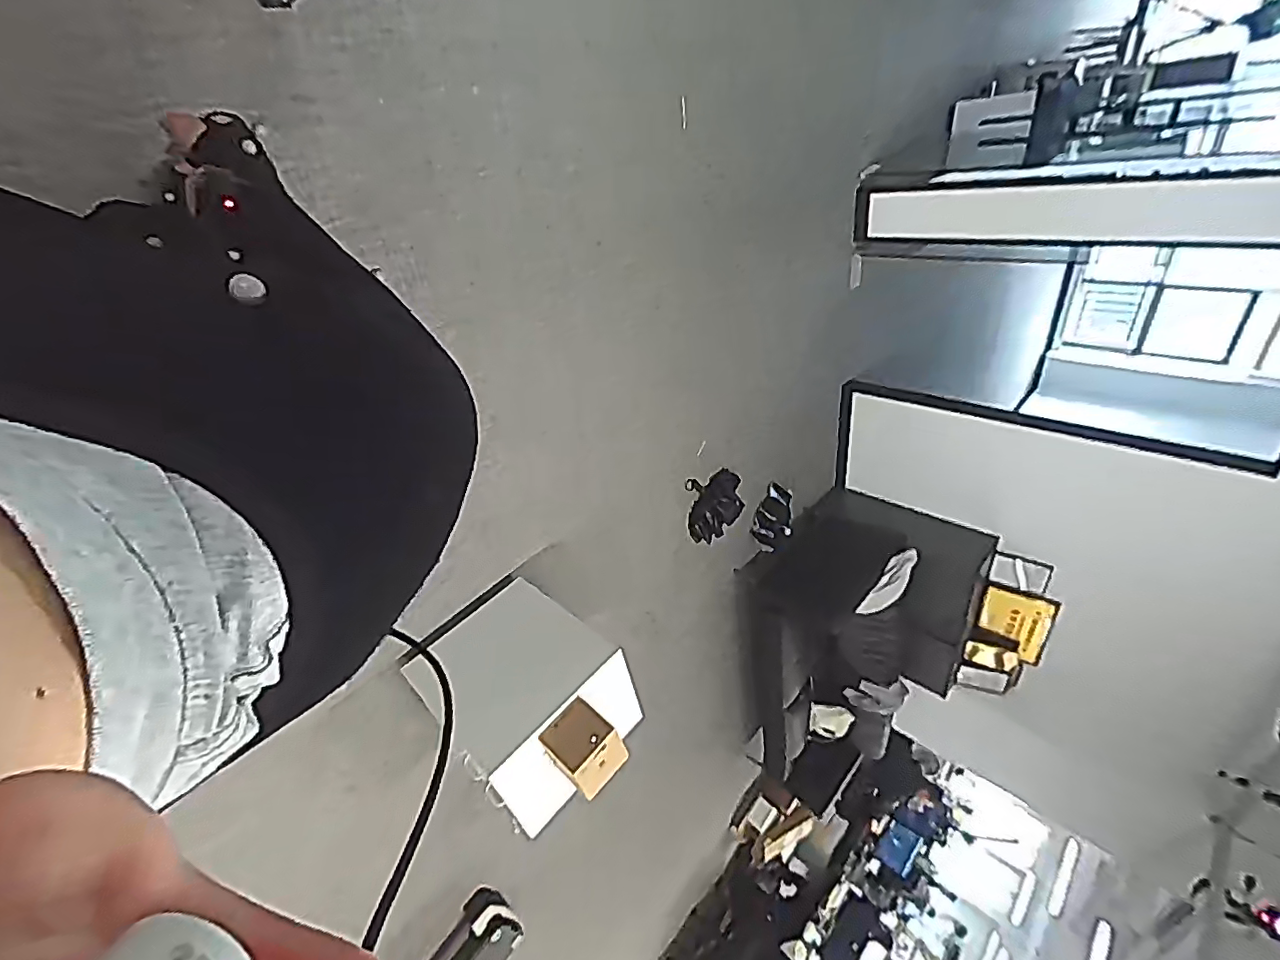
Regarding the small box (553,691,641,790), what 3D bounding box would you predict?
[{"bbox_3d":[-0.124,0.756,1.583,0.168,0.176,0.179,-42,135,-29],"label":"small box"}]
